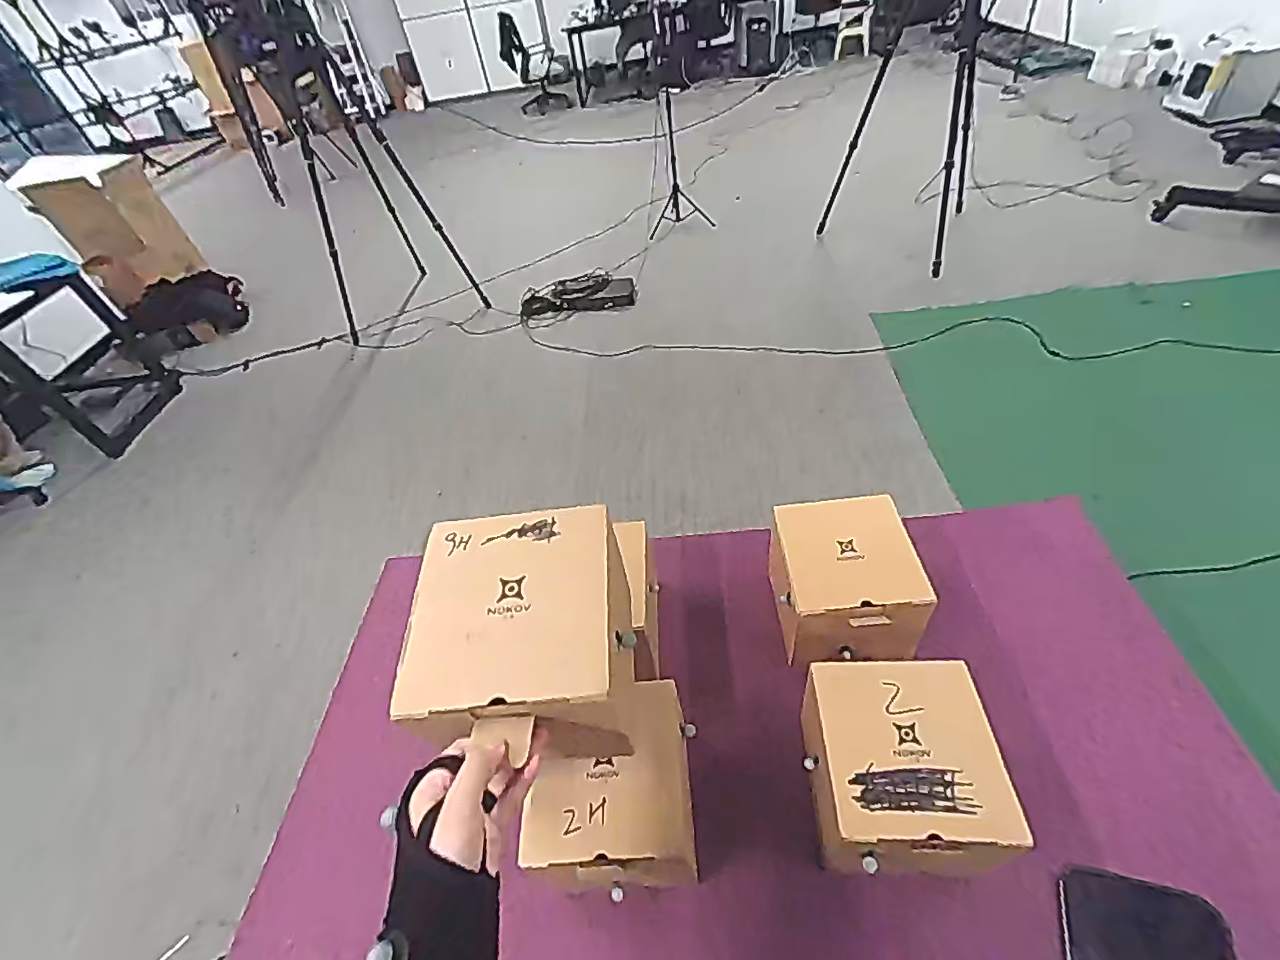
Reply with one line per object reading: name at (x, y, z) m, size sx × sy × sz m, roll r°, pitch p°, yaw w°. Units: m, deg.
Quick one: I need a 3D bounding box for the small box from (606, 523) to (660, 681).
small box at (-0.060, 0.187, 0.800) m, size 0.168 × 0.176 × 0.179 m, roll -5°, pitch 46°, yaw 6°

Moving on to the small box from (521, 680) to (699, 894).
small box at (-0.025, 0.357, 0.629) m, size 0.168 × 0.176 × 0.179 m, roll -7°, pitch 45°, yaw 5°

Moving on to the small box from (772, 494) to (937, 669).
small box at (0.286, 0.145, 0.768) m, size 0.168 × 0.176 × 0.179 m, roll -7°, pitch 46°, yaw 5°

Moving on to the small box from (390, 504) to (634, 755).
small box at (-0.099, 0.147, 0.507) m, size 0.168 × 0.176 × 0.179 m, roll -7°, pitch 51°, yaw 4°
